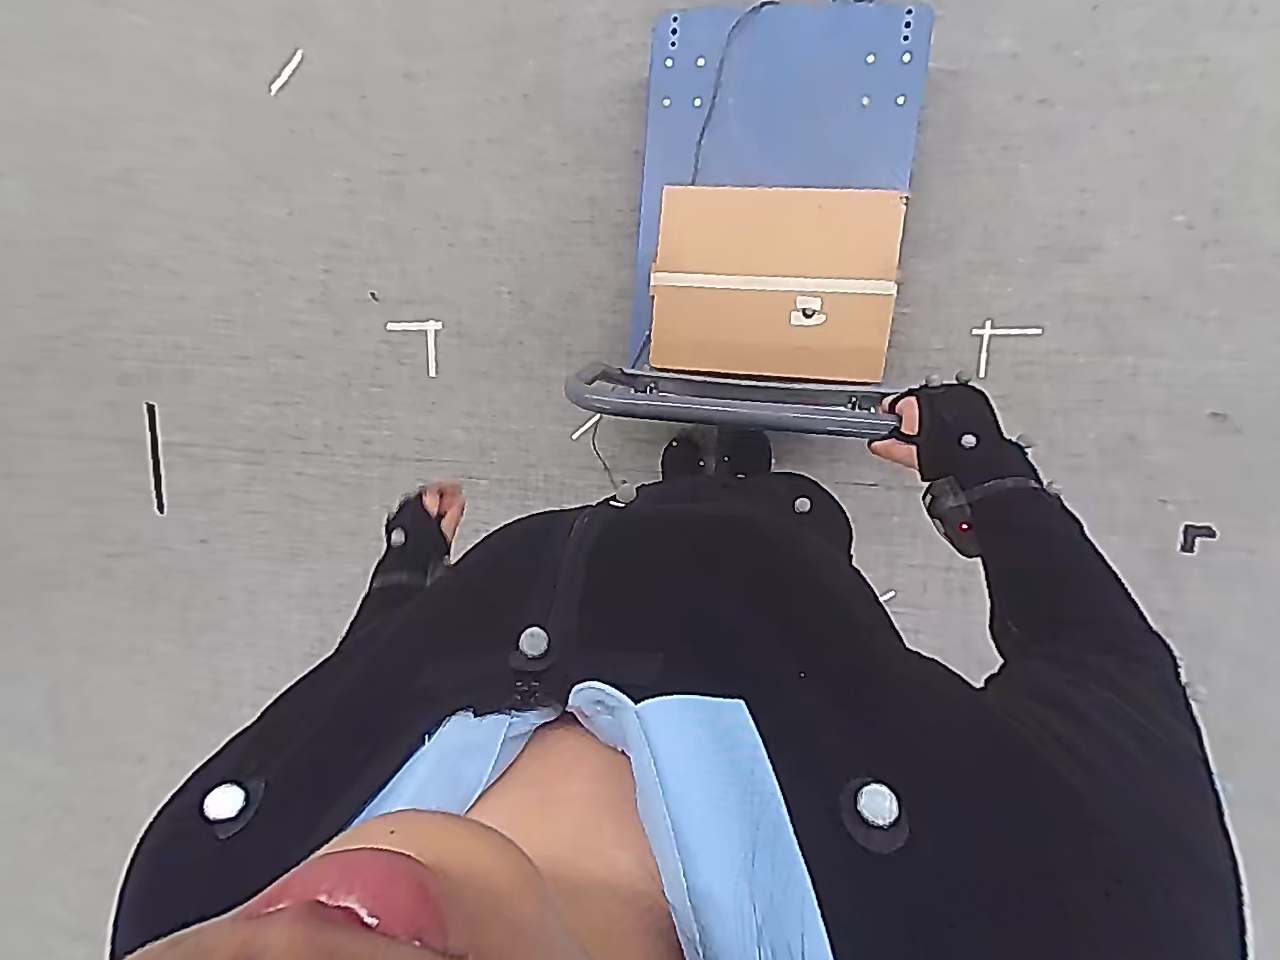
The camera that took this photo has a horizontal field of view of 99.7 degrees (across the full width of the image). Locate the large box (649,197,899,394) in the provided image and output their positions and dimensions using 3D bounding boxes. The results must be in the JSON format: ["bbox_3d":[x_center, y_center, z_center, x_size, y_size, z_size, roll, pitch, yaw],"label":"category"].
[{"bbox_3d":[0.239,-0.340,1.073,0.408,0.320,0.320,5,99,8],"label":"large box"}]
